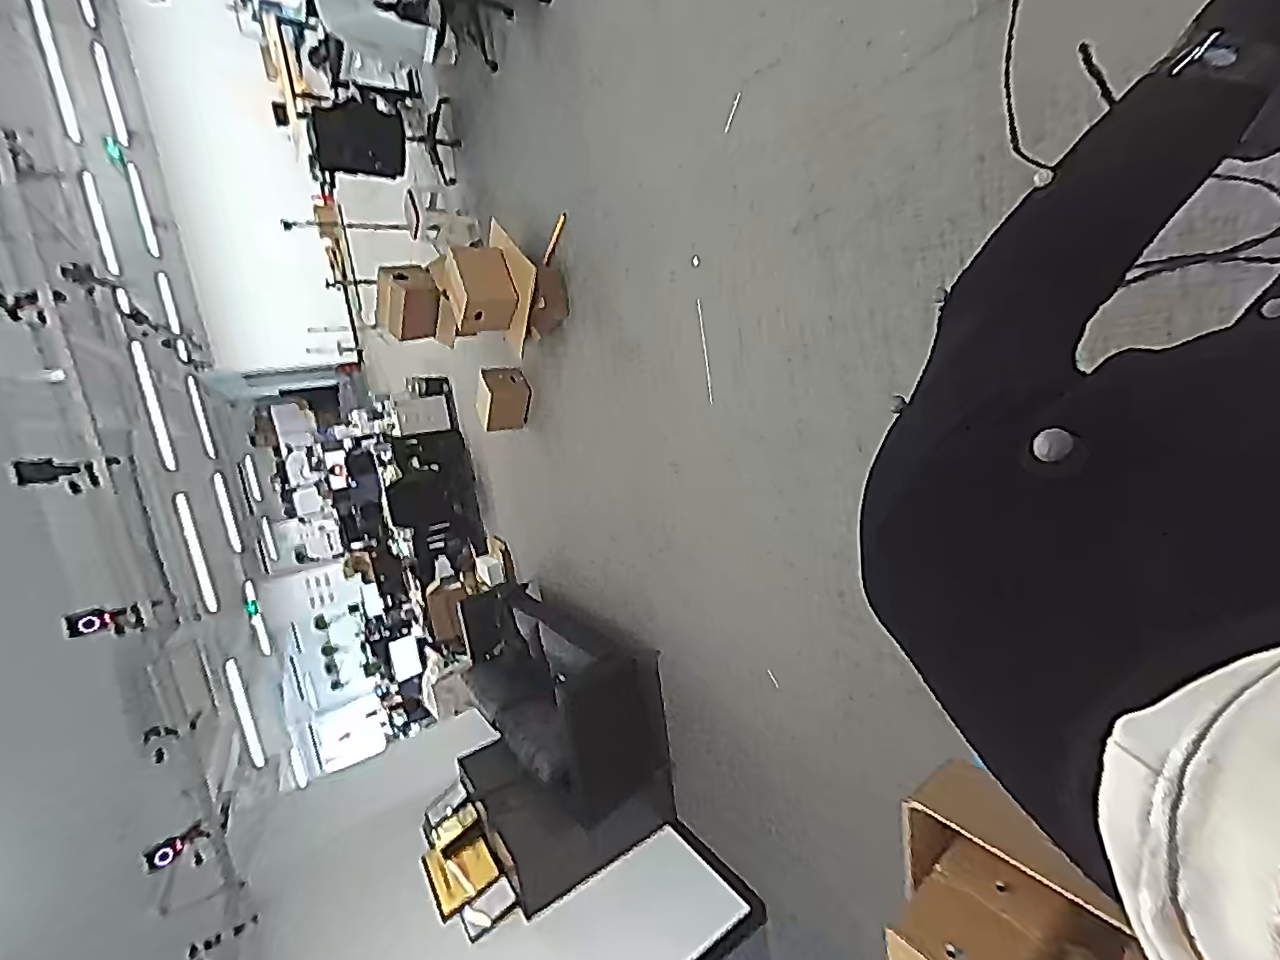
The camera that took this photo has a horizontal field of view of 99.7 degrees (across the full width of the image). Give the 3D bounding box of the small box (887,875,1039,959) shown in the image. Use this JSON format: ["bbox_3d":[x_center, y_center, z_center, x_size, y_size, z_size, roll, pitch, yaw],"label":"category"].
[{"bbox_3d":[0.556,0.841,0.930,0.179,0.176,0.168,11,112,55],"label":"small box"}]
